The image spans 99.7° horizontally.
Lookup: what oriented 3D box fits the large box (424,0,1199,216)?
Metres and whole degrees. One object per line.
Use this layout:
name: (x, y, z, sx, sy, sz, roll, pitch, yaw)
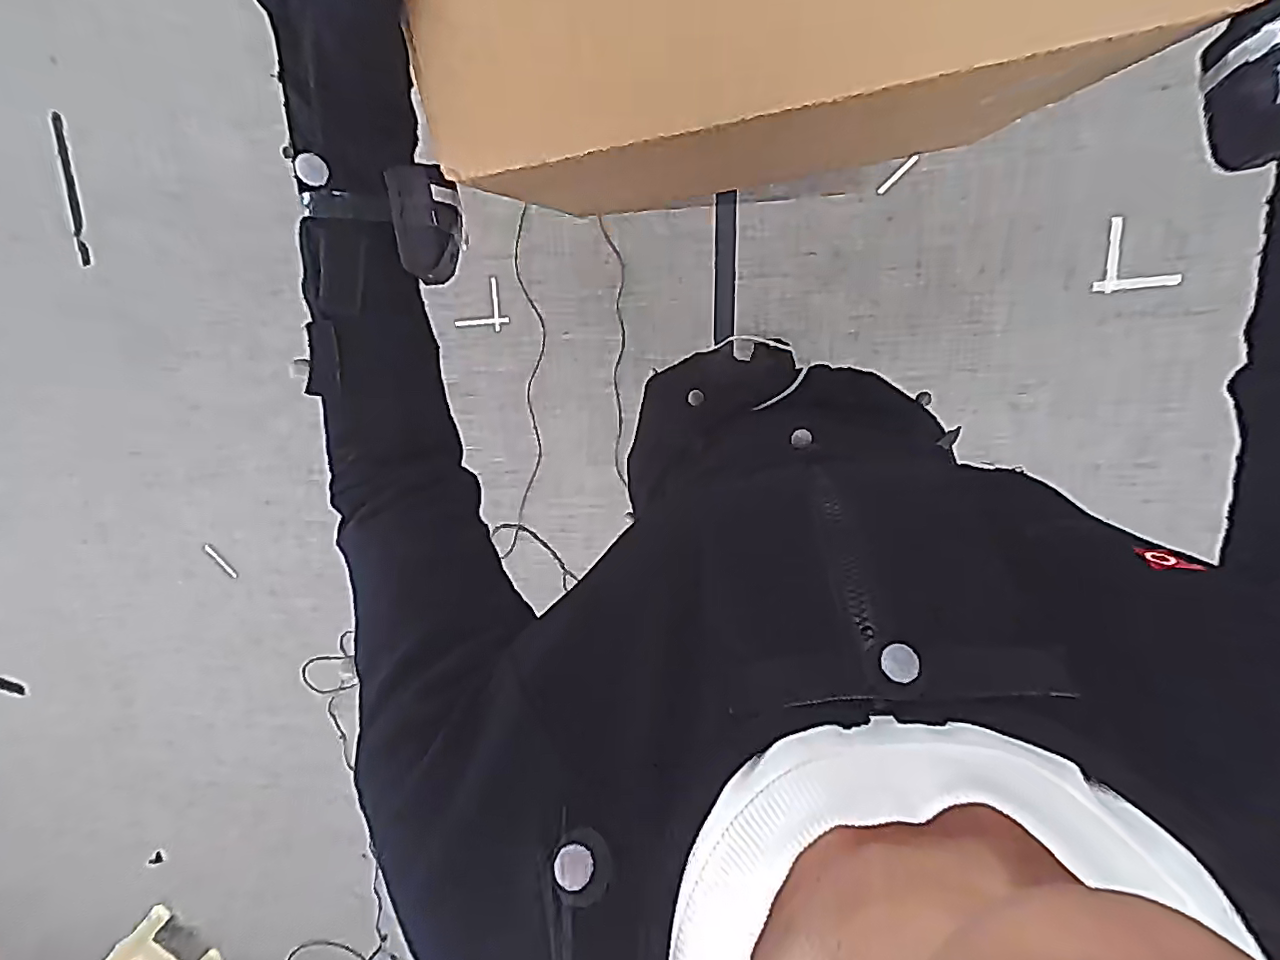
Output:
large box: (0.079, -0.402, 0.377, 0.408, 0.320, 0.320, -7, 111, 10)
